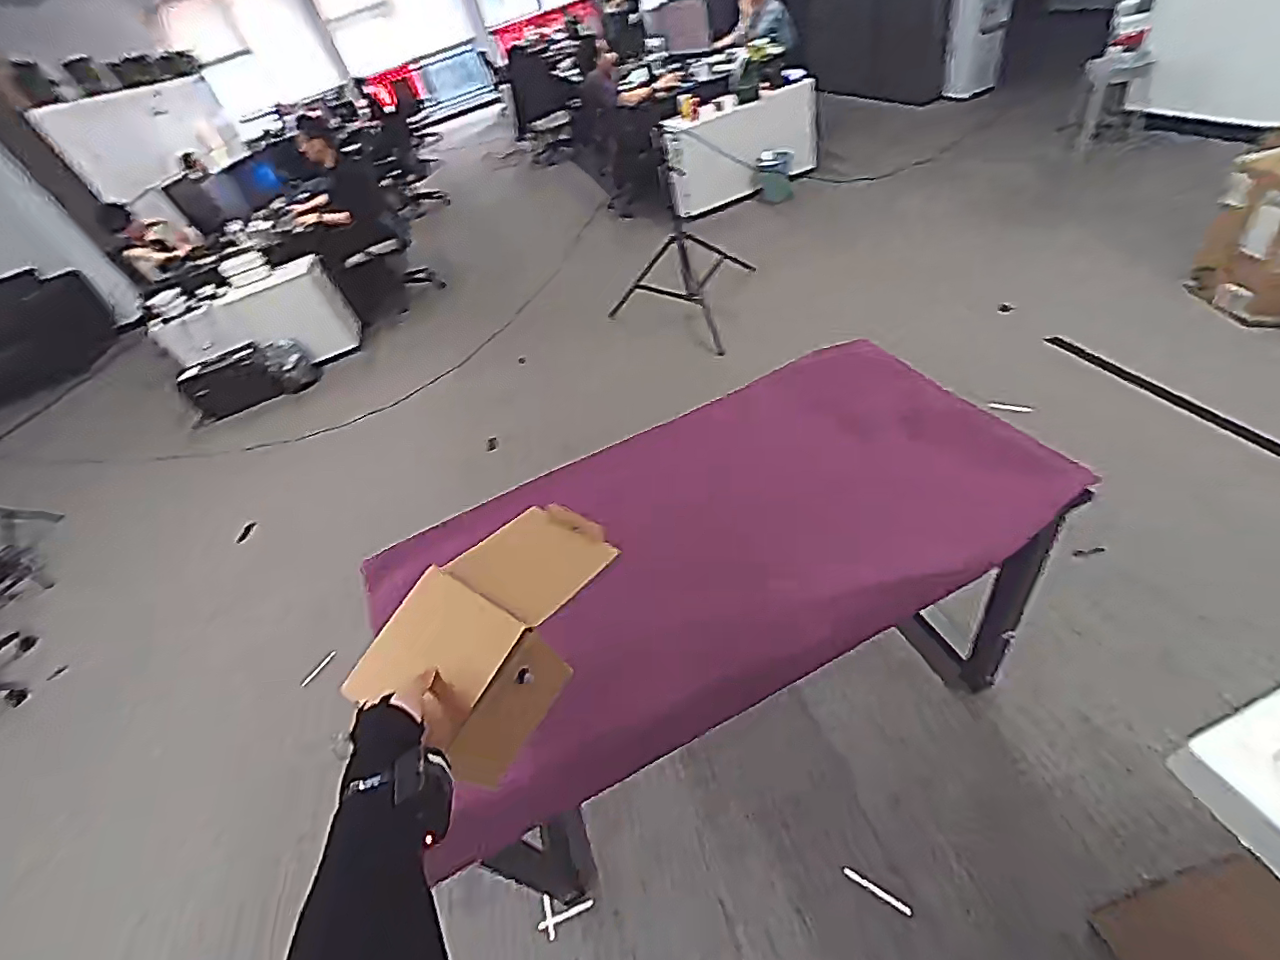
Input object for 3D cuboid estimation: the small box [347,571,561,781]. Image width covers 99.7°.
[{"bbox_3d":[-0.221,0.255,0.700,0.168,0.176,0.179,22,62,26],"label":"small box"}]
